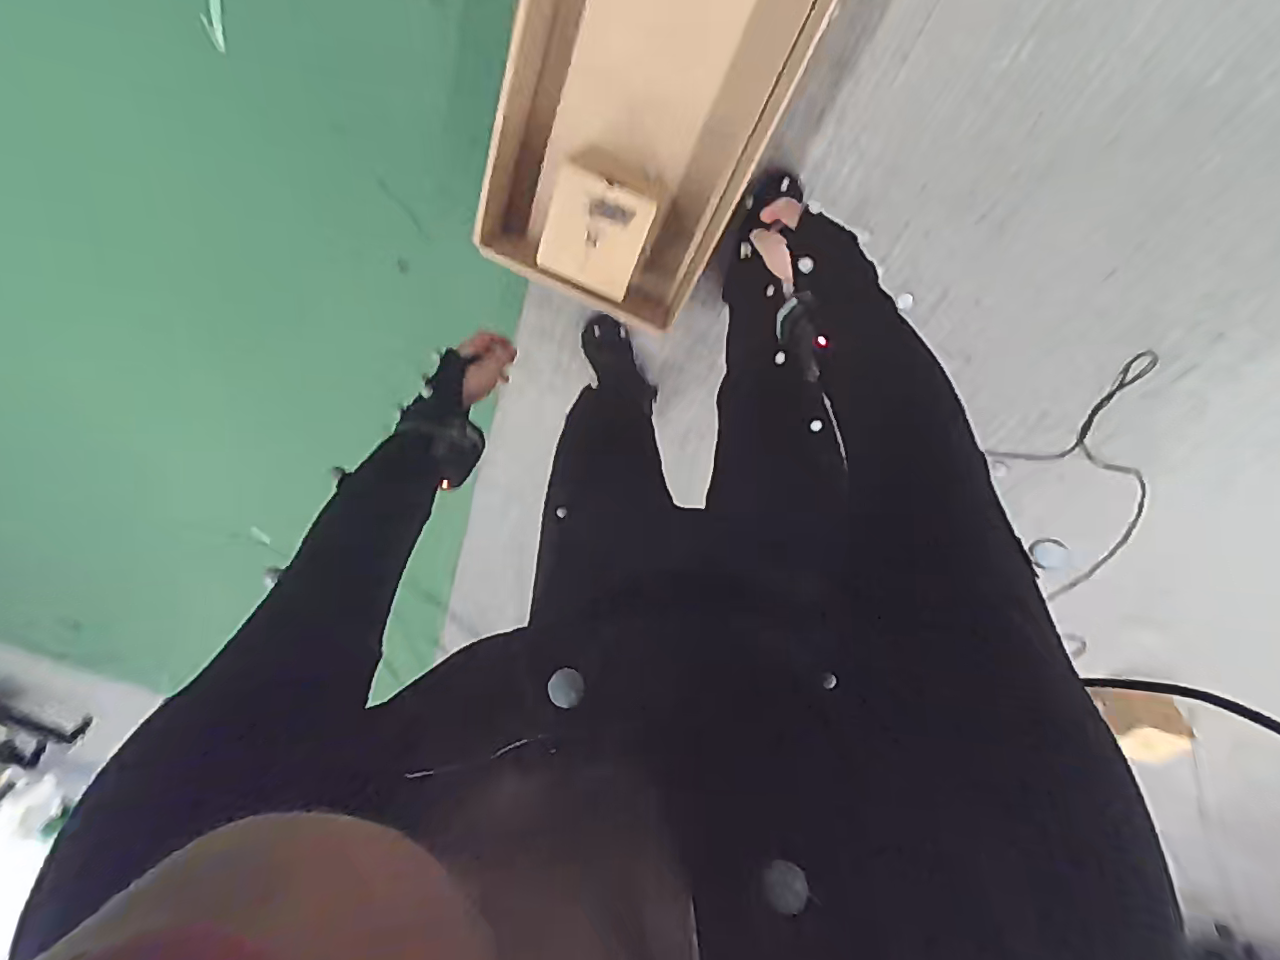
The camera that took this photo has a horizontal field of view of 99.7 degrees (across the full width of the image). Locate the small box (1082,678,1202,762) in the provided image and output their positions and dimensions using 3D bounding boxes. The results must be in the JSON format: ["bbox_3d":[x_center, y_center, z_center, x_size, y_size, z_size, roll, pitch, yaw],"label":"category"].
[{"bbox_3d":[1.545,0.741,1.678,0.179,0.176,0.168,15,129,-1],"label":"small box"}]

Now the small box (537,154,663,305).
[{"bbox_3d":[-0.066,-0.450,0.964,0.168,0.176,0.179,21,129,-8],"label":"small box"}]
